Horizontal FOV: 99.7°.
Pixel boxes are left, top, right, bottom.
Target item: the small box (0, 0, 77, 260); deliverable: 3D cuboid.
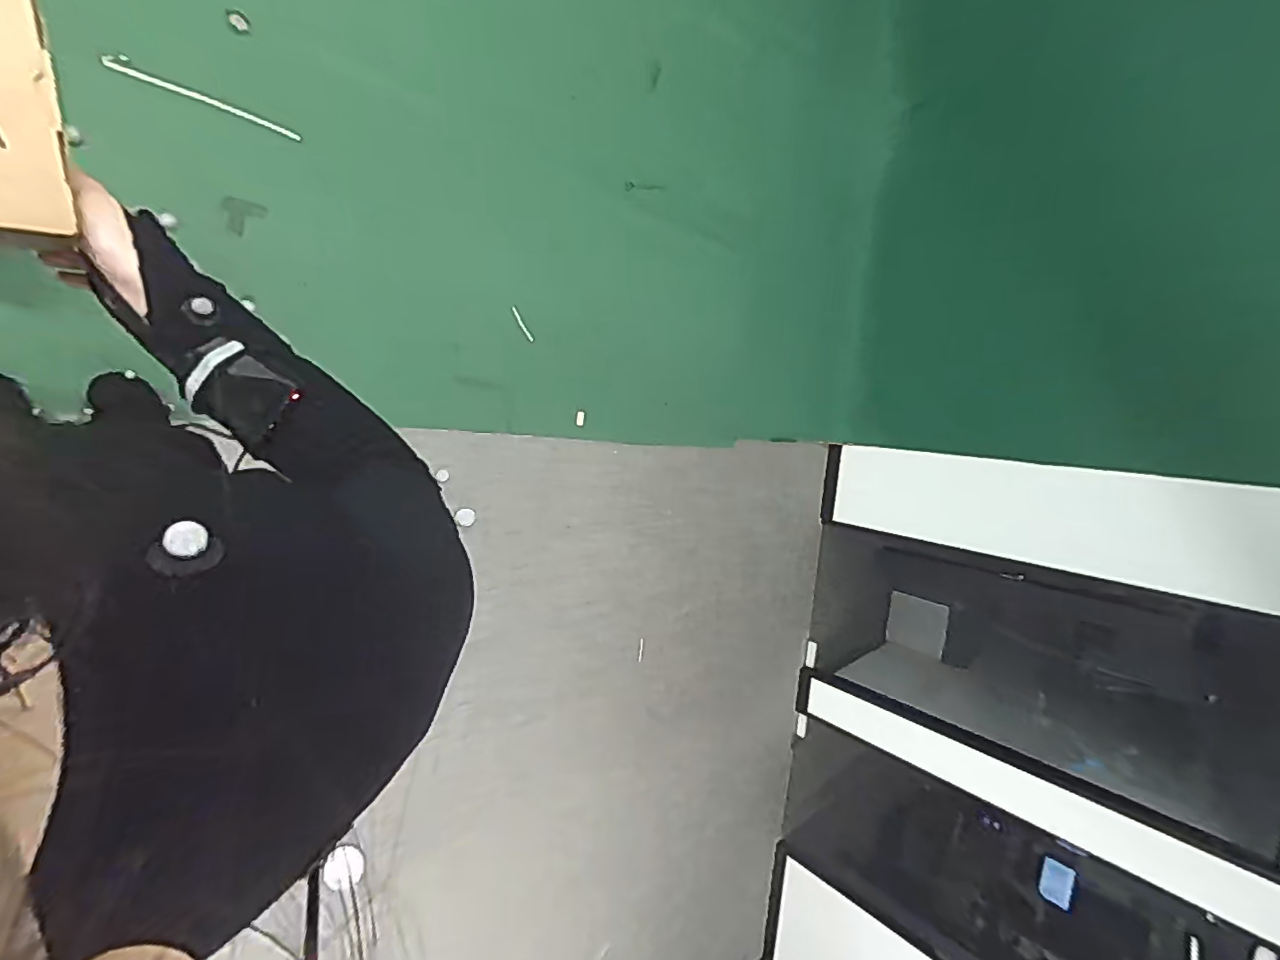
[{"bbox_3d":[-0.471,-0.230,0.319,0.179,0.176,0.168,-11,111,-46],"label":"small box"}]
